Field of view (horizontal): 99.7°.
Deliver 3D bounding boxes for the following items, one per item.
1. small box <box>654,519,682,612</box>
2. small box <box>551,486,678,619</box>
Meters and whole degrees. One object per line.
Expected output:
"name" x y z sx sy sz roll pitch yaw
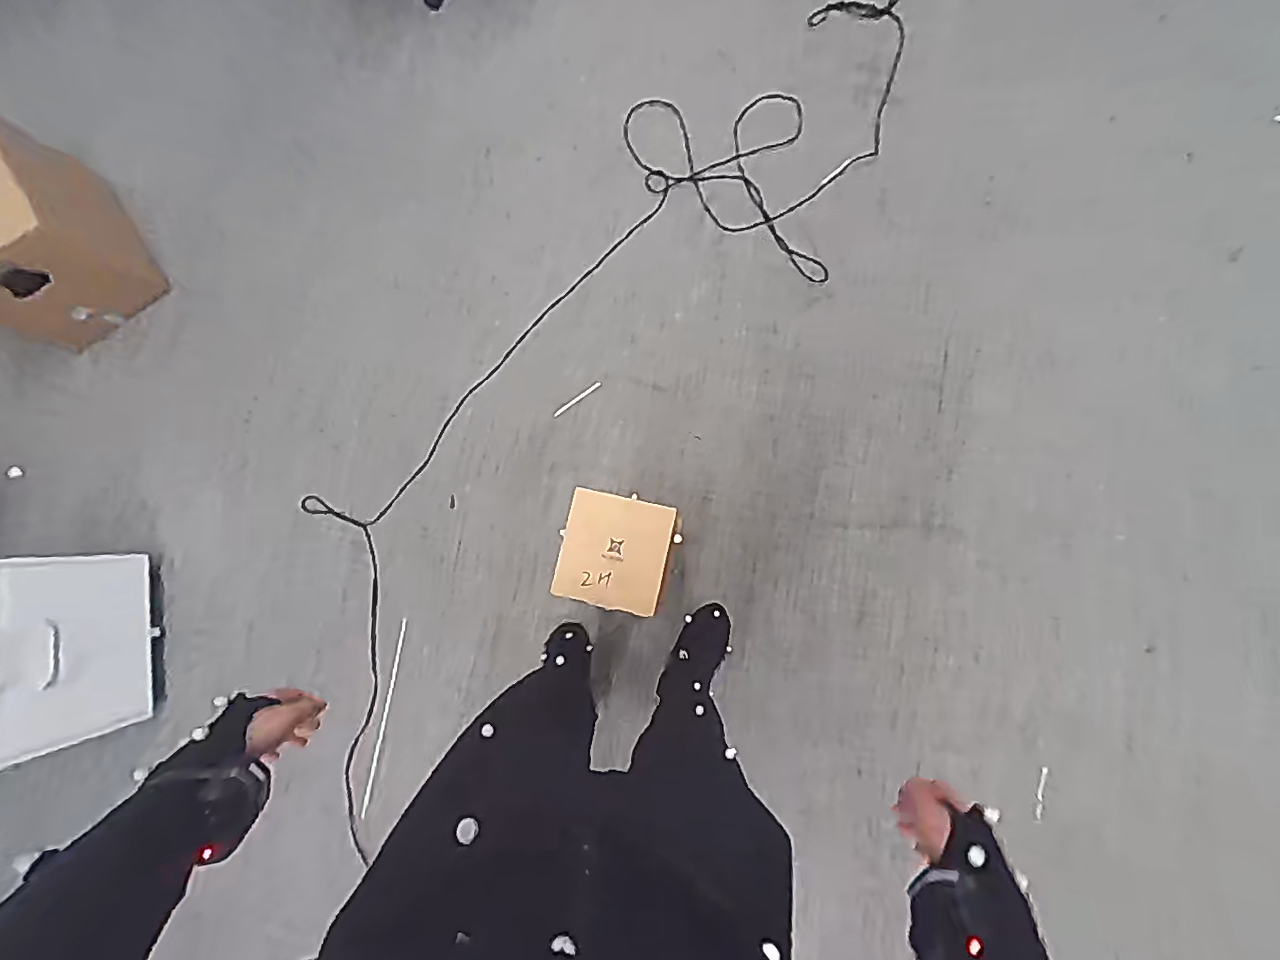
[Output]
"small box" -0.014 0.149 1.079 0.168 0.176 0.179 13 83 5
"small box" -0.036 0.121 0.917 0.168 0.176 0.179 13 84 6
